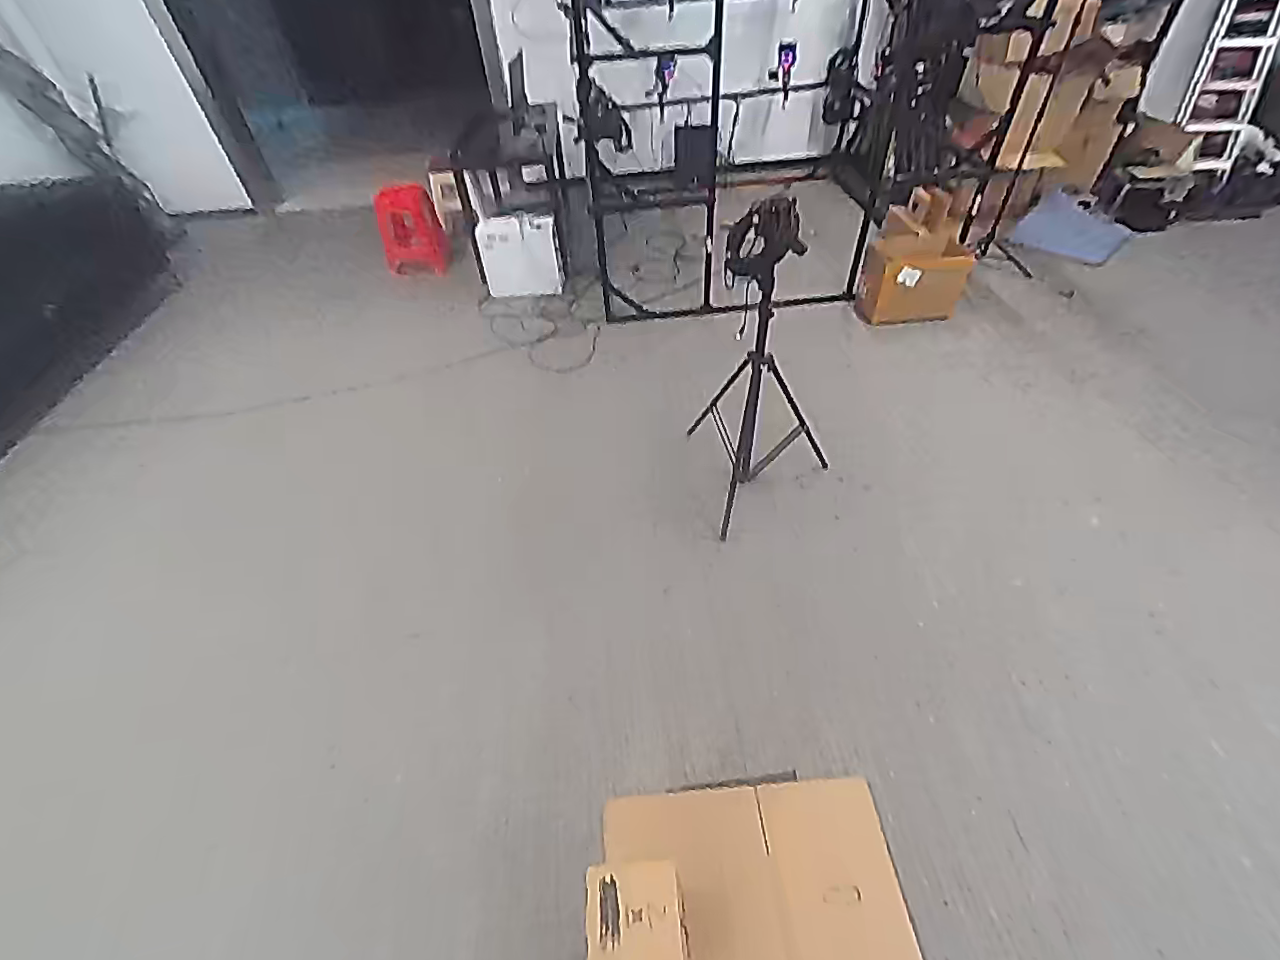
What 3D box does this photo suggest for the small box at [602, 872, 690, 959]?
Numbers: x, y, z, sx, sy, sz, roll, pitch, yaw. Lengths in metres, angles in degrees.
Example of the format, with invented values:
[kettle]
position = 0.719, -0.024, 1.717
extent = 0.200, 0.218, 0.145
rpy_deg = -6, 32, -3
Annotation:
[small box]
position = 0.013, 0.975, 1.182
extent = 0.179, 0.176, 0.168
rpy_deg = -6, 46, 0
